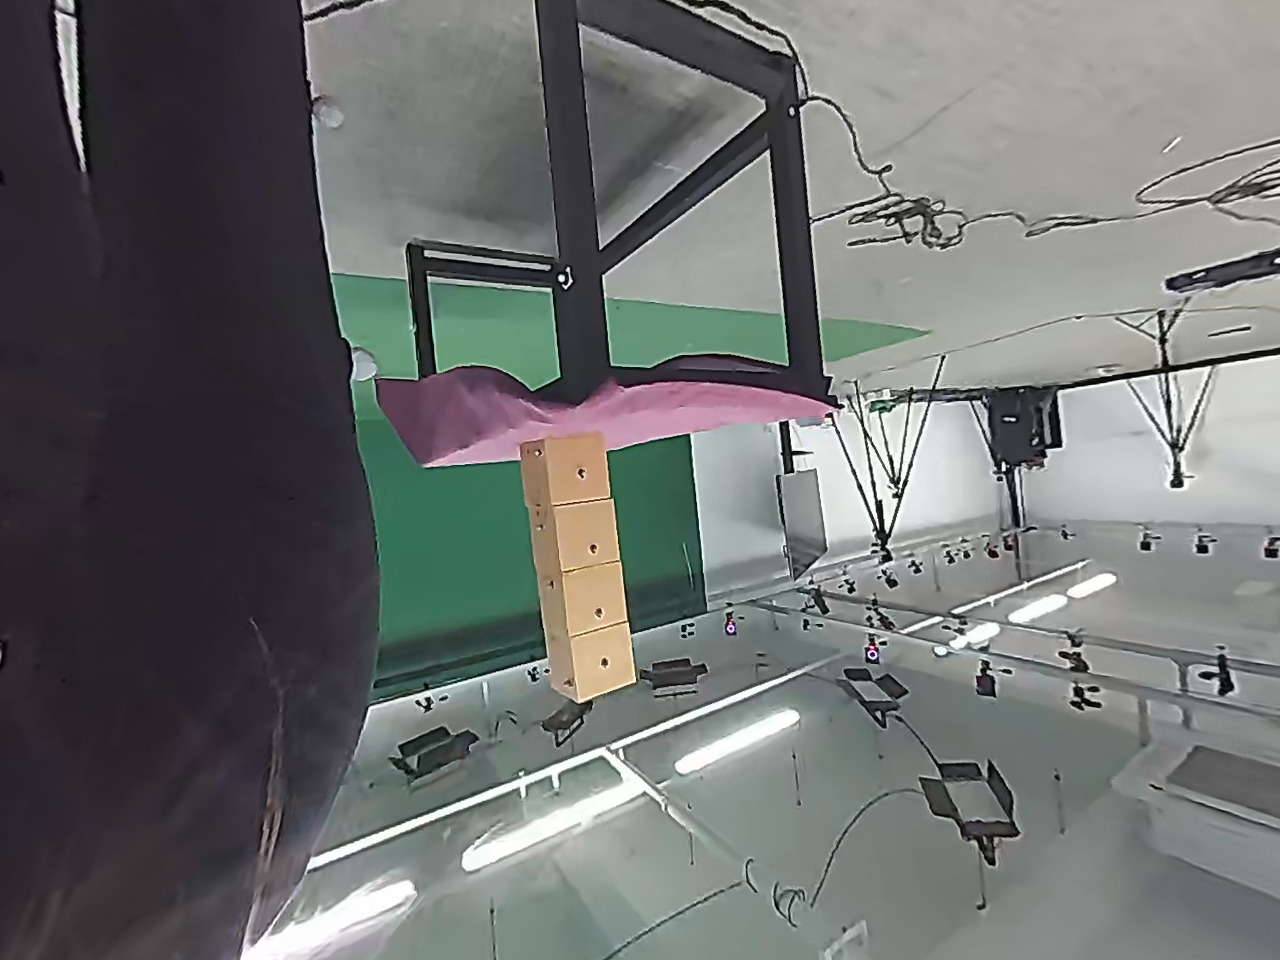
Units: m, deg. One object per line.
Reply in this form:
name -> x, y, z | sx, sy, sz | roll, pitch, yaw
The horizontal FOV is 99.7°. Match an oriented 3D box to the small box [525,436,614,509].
small box -> -0.192, -0.019, 1.434 | 0.179, 0.176, 0.168 | -7, 180, -34

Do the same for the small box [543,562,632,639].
small box -> -0.143, 0.305, 1.440 | 0.179, 0.176, 0.168 | -6, 179, -33

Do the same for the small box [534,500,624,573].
small box -> -0.165, 0.143, 1.437 | 0.179, 0.176, 0.168 | -6, 179, -33
